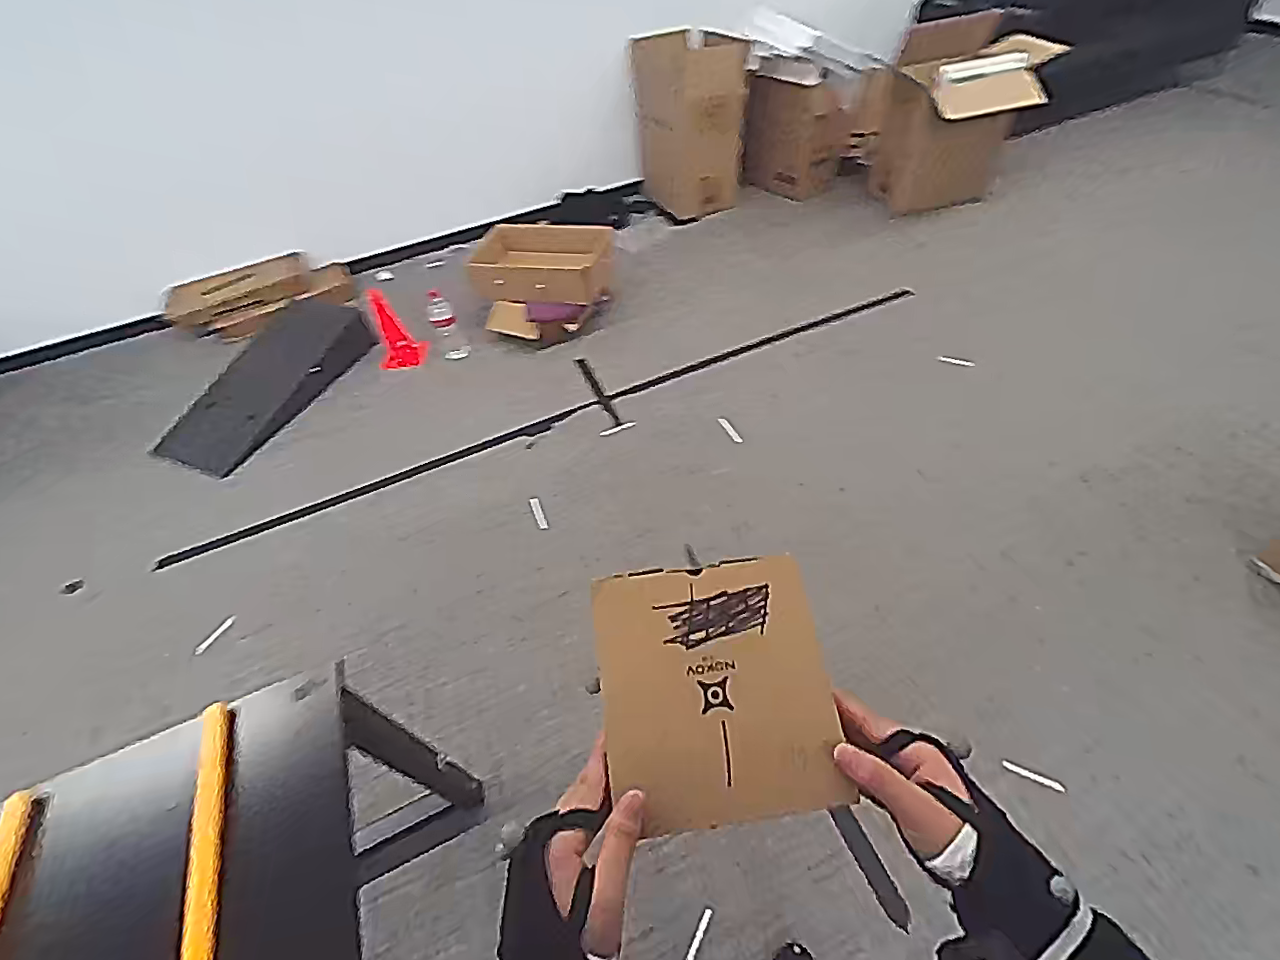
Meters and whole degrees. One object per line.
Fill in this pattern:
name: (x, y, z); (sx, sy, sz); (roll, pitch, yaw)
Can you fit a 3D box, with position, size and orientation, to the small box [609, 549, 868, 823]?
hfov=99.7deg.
small box: (0.064, 0.175, 0.466); (0.168, 0.176, 0.179); (-7, 65, -2)
